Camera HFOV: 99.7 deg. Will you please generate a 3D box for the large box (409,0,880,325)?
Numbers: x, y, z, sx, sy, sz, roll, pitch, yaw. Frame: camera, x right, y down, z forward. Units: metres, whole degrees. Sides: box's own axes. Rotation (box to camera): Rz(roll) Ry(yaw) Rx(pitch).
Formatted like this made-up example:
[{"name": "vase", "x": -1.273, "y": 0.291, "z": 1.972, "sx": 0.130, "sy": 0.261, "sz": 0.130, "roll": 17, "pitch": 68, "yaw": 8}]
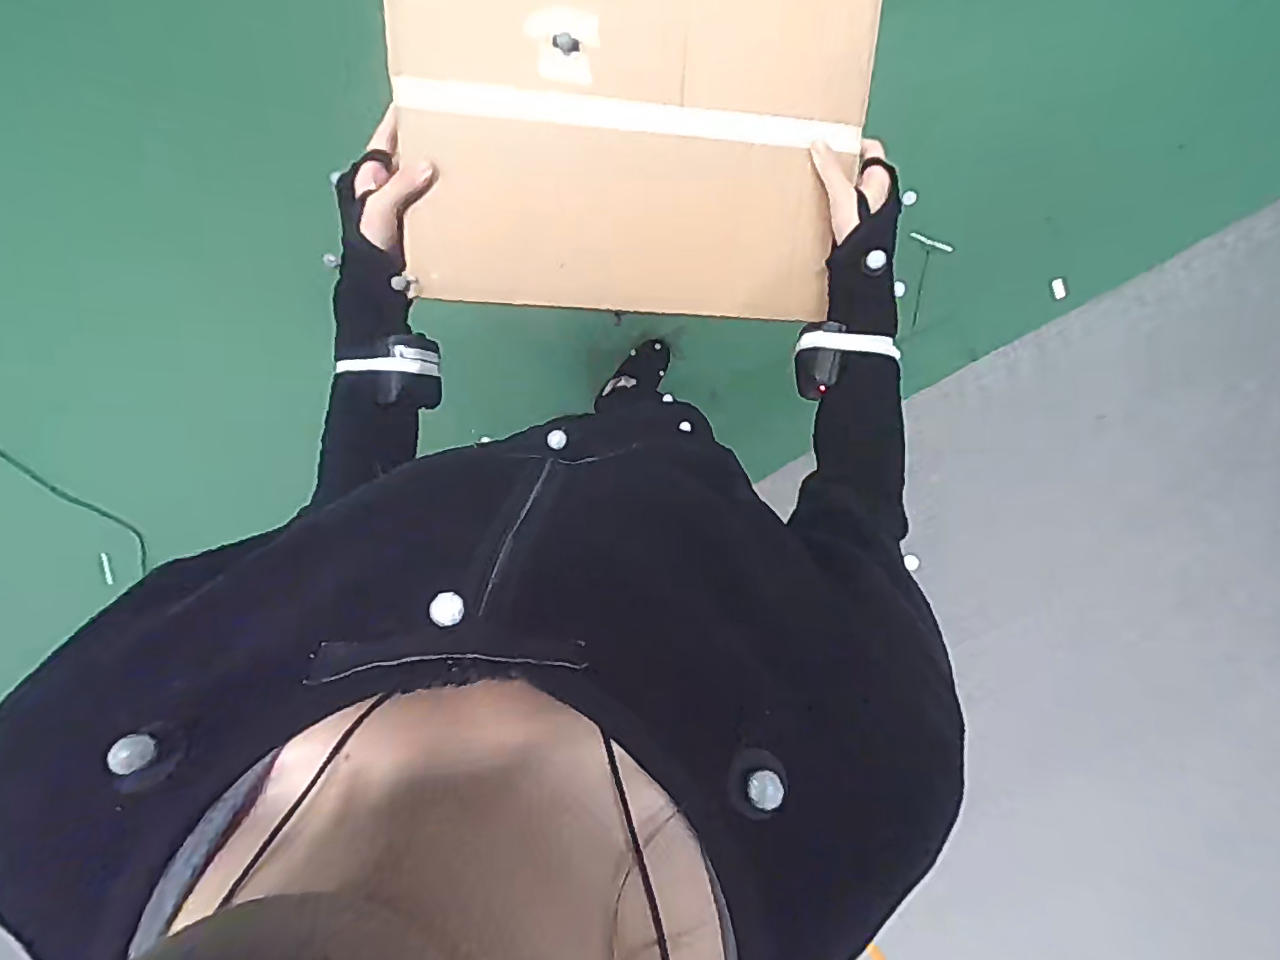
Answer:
[{"name": "large box", "x": -0.011, "y": -0.358, "z": 0.622, "sx": 0.408, "sy": 0.320, "sz": 0.320, "roll": 3, "pitch": 107, "yaw": -8}]
